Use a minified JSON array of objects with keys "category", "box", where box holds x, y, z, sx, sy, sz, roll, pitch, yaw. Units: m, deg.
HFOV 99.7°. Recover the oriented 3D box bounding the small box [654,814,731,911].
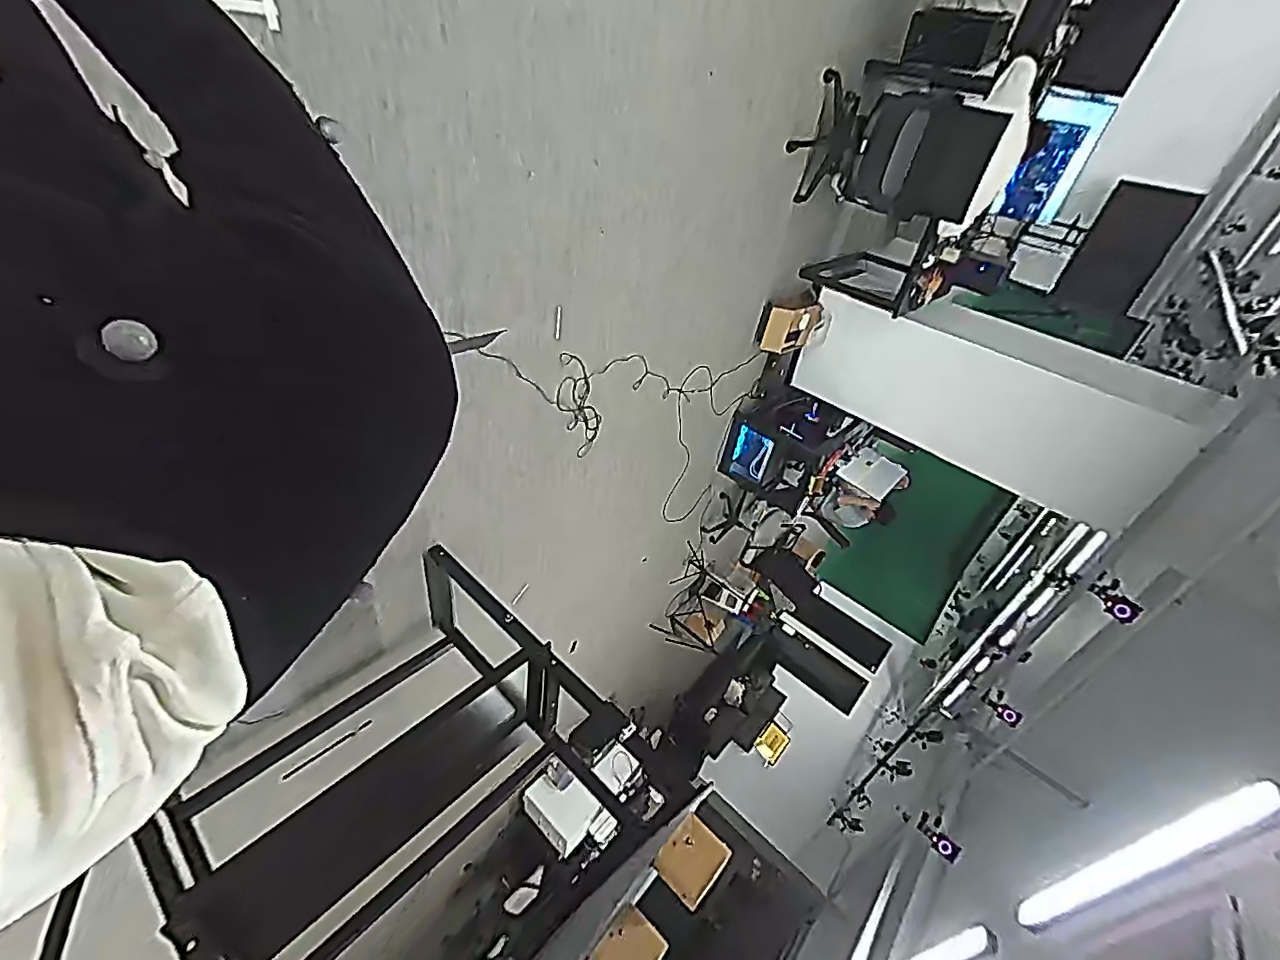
[{"category":"small box","box":[0.157,1.184,1.680,0.168,0.176,0.179,-36,145,-33]}]
